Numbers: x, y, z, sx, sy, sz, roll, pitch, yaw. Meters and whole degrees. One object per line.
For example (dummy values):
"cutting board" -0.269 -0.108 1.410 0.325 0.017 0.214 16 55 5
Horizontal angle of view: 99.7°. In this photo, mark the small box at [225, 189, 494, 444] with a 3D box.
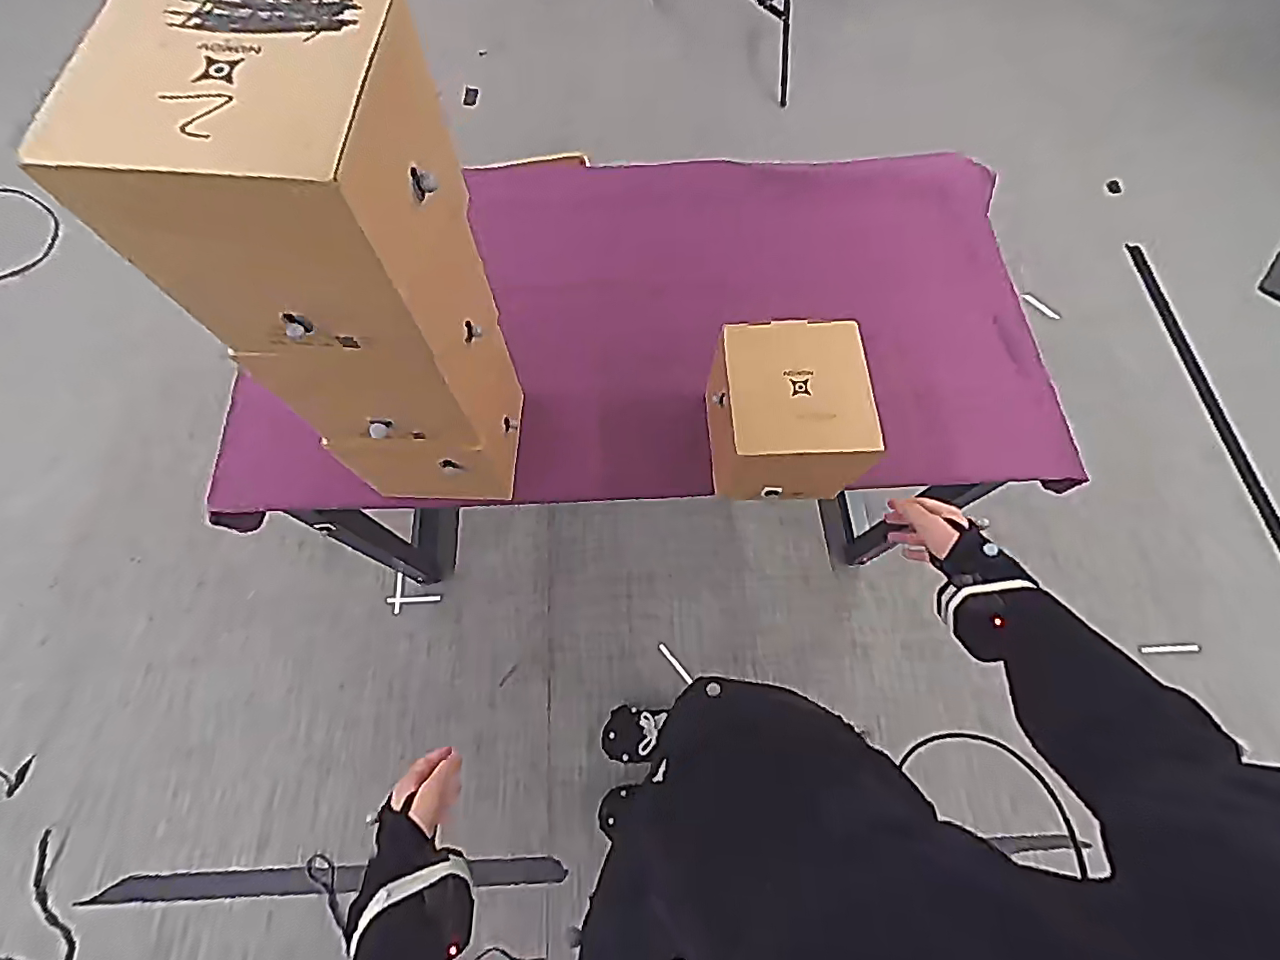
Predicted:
"small box" -0.248 -0.150 0.532 0.168 0.176 0.179 1 70 -1

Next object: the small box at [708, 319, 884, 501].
"small box" 0.183 -0.083 0.693 0.168 0.176 0.179 -2 70 -1

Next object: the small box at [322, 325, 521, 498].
"small box" -0.255 -0.082 0.682 0.179 0.176 0.168 2 68 0
